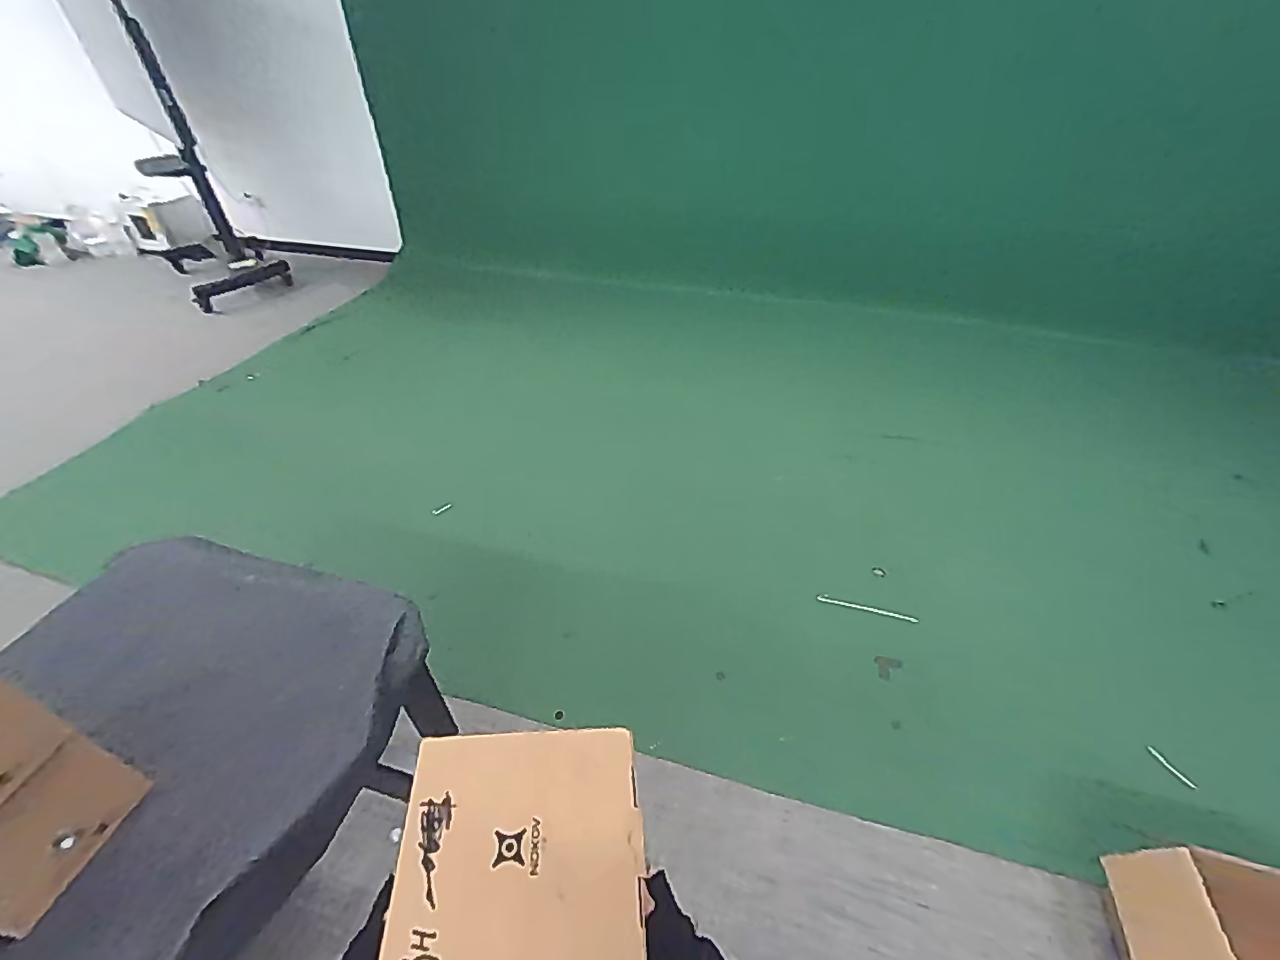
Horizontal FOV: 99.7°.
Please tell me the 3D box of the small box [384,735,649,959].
[{"bbox_3d":[-0.092,0.331,0.458,0.179,0.176,0.168,2,44,-6],"label":"small box"}]
